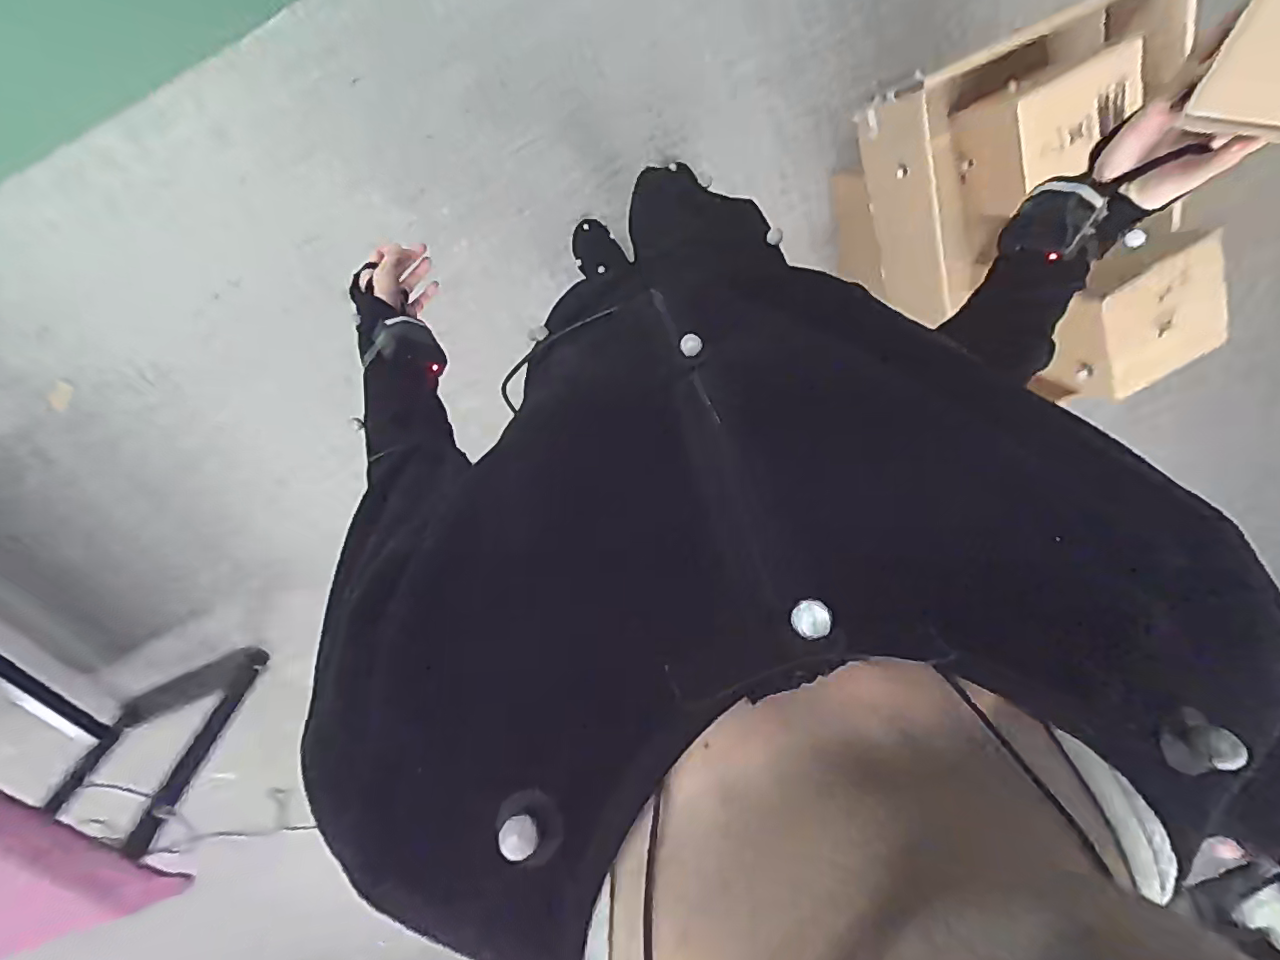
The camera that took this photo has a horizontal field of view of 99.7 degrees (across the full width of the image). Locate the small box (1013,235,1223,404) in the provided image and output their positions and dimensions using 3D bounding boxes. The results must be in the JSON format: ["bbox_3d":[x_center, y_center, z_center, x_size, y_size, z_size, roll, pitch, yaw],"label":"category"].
[{"bbox_3d":[0.717,-0.251,0.823,0.168,0.176,0.179,-31,116,8],"label":"small box"}]

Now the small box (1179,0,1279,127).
[{"bbox_3d":[0.420,-0.267,0.257,0.168,0.179,0.176,-32,142,-40],"label":"small box"}]
